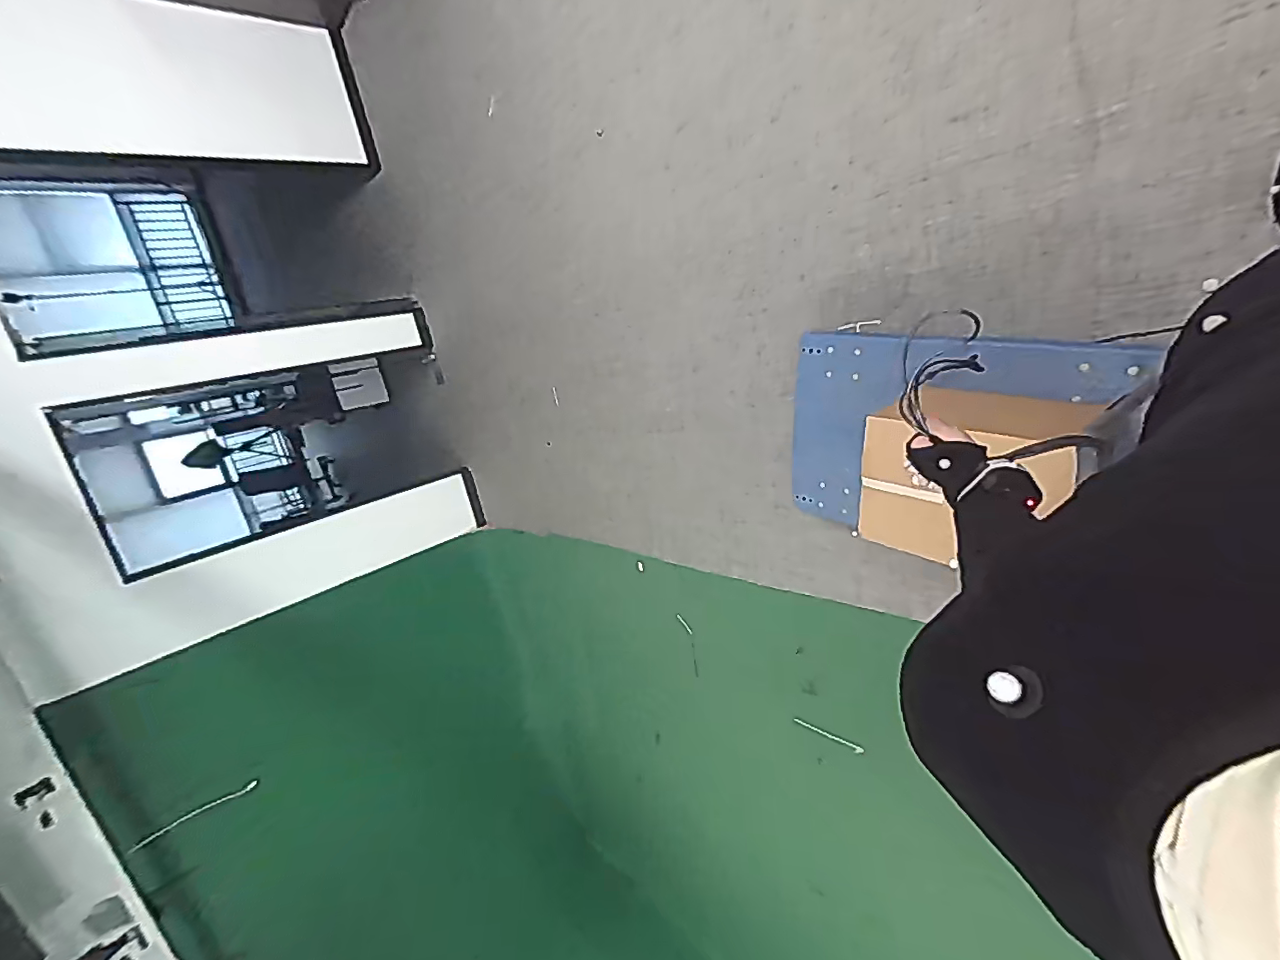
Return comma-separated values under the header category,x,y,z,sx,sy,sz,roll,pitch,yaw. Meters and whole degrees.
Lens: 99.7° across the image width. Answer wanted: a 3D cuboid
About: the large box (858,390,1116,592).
category,x,y,z,sx,sy,sz,roll,pitch,yaw
large box,0.764,-0.006,1.223,0.408,0.320,0.320,18,121,45
